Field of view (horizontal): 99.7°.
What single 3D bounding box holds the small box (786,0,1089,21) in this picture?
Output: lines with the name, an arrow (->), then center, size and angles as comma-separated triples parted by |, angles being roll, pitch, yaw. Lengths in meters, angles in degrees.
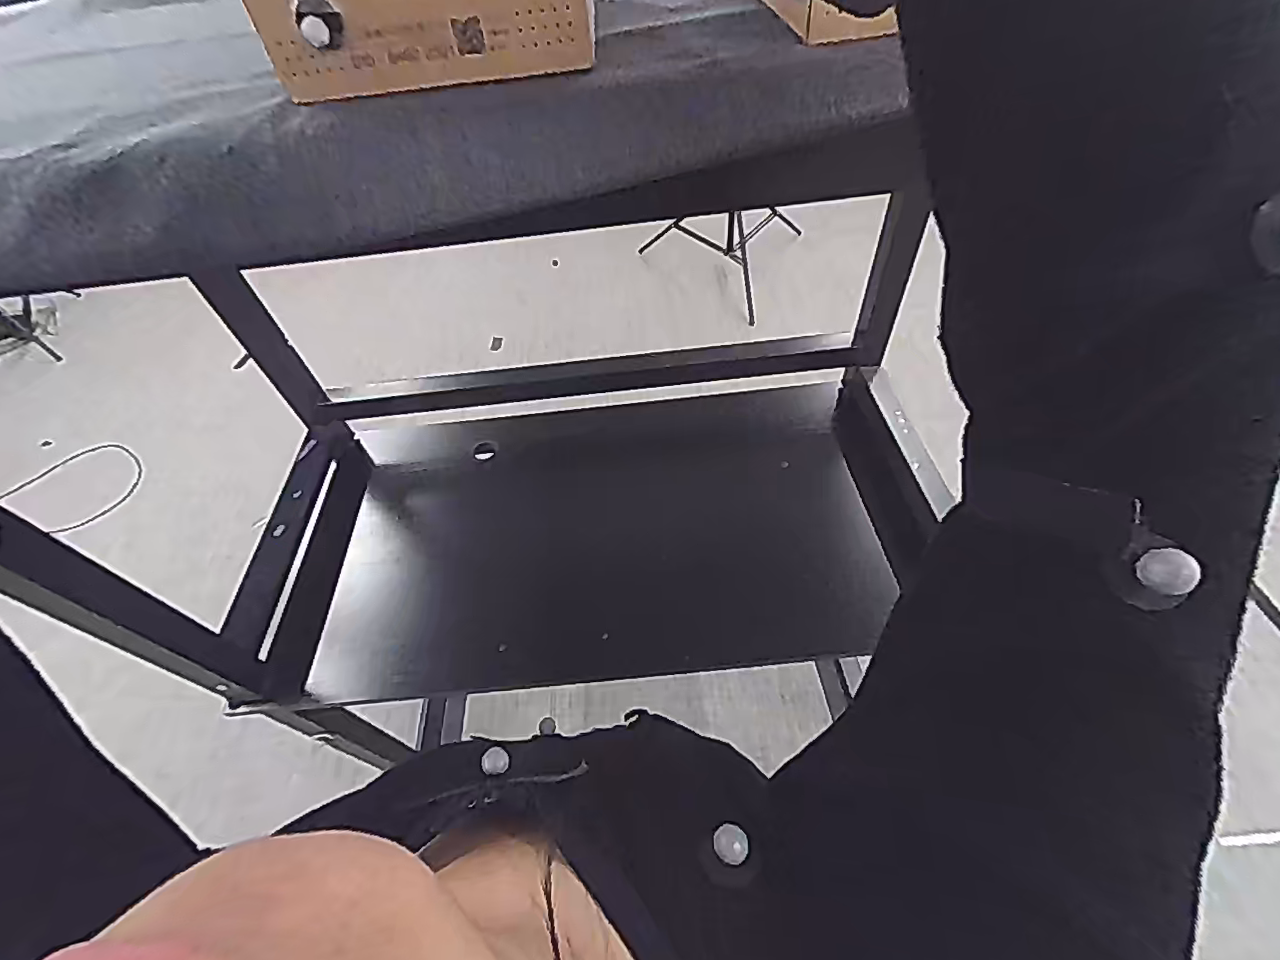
small box -> 0.159, -0.357, 0.271 | 0.168, 0.176, 0.179 | -6, 50, 3

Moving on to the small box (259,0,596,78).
small box -> -0.115, -0.327, 0.277 | 0.168, 0.176, 0.179 | -6, 48, 1
